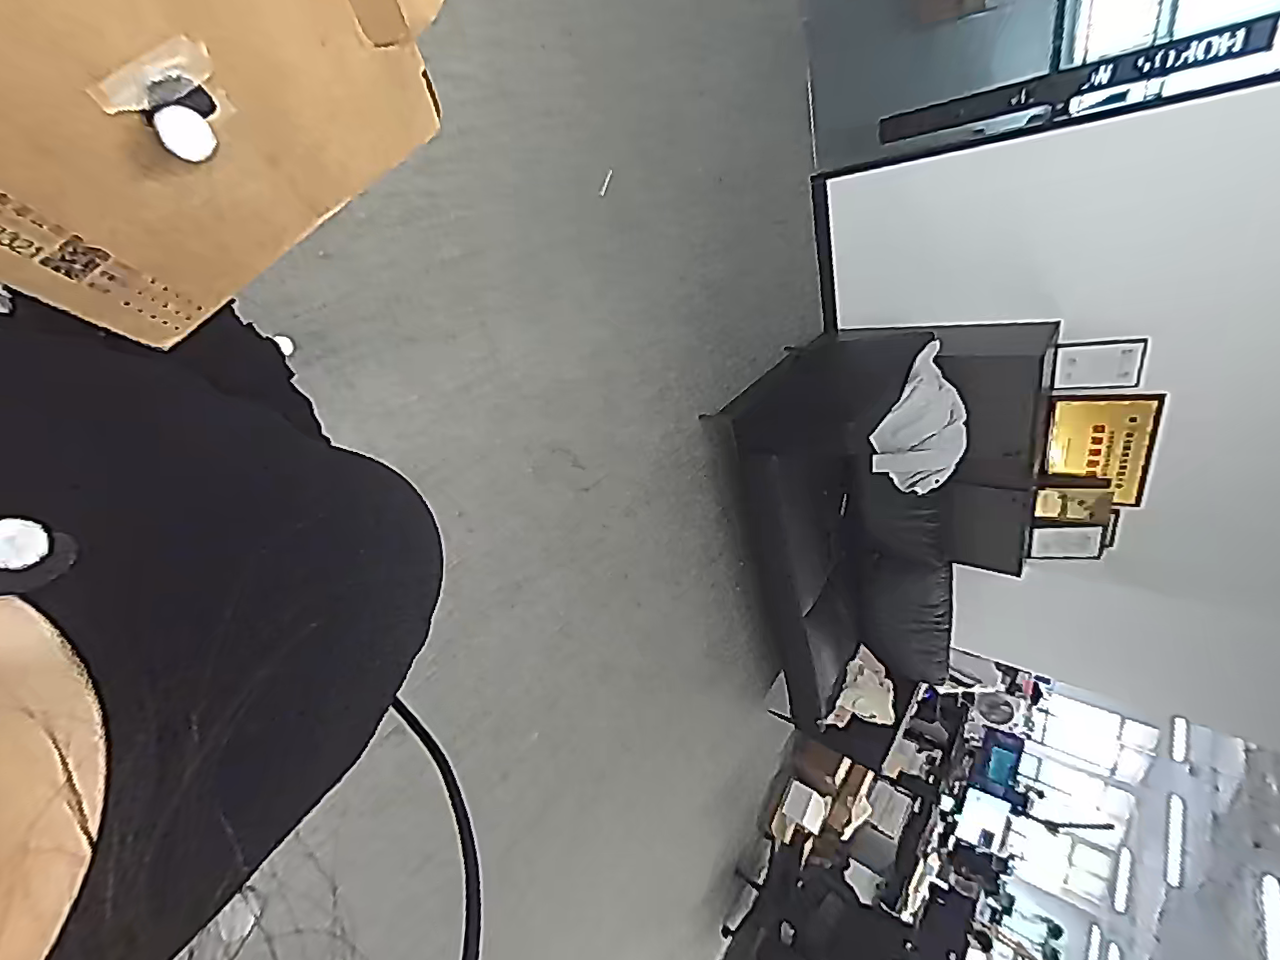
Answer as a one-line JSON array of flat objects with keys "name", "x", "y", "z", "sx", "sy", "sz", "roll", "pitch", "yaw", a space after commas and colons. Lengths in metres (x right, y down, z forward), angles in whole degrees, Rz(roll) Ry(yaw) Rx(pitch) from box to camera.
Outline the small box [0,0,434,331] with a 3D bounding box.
[{"name": "small box", "x": -0.212, "y": -0.184, "z": 0.181, "sx": 0.176, "sy": 0.168, "sz": 0.179, "roll": -44, "pitch": 91, "yaw": -8}]
